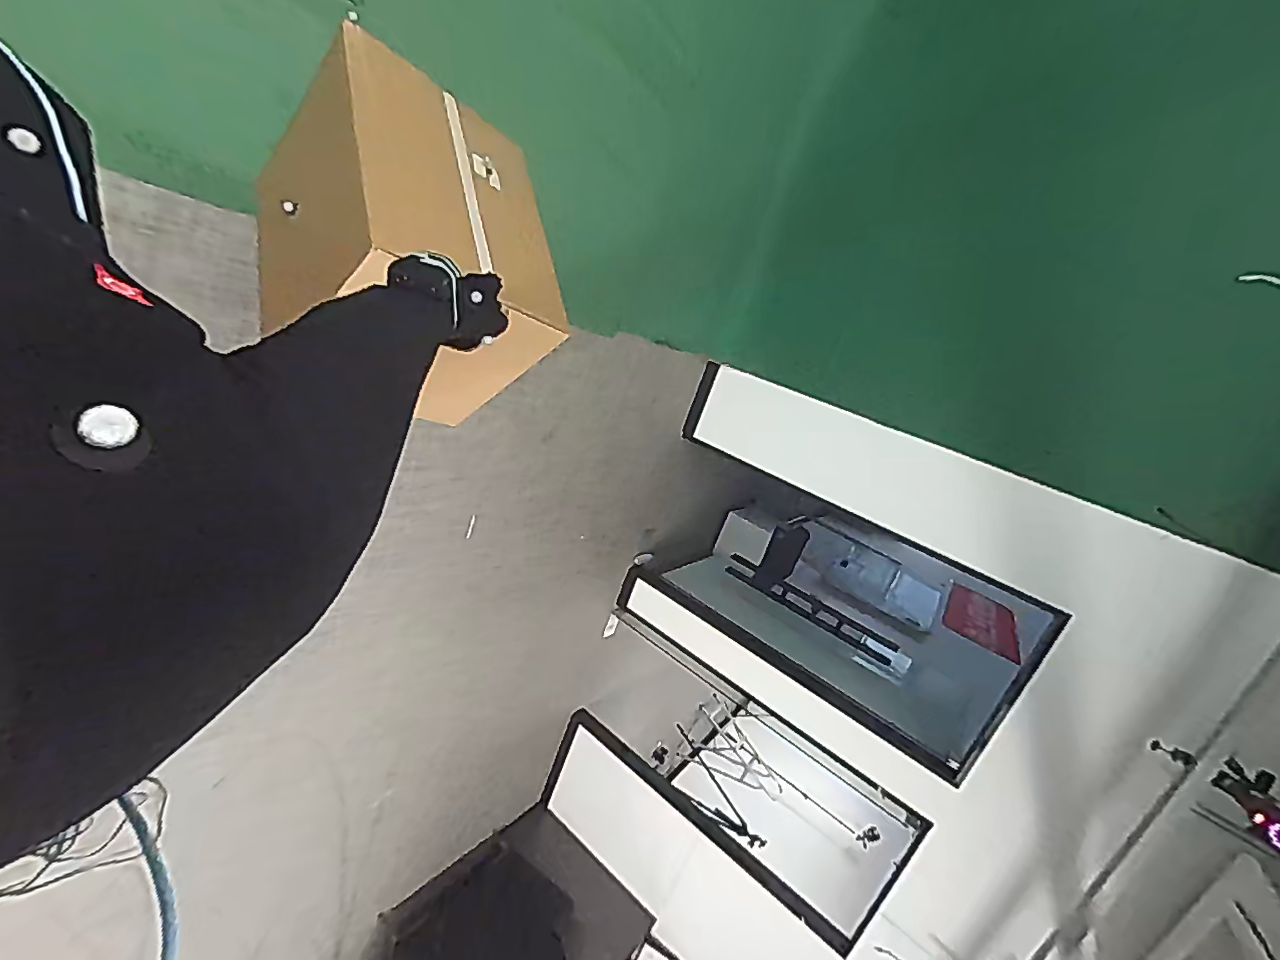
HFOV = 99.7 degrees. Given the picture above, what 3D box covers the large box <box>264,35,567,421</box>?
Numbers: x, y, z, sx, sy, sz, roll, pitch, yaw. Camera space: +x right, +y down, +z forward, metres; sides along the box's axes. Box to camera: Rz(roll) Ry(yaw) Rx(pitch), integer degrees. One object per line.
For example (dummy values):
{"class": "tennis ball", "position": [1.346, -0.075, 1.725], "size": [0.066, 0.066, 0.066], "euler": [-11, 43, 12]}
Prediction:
{"class": "large box", "position": [-0.372, -0.356, 0.873], "size": [0.320, 0.408, 0.320], "euler": [-29, 157, 31]}
